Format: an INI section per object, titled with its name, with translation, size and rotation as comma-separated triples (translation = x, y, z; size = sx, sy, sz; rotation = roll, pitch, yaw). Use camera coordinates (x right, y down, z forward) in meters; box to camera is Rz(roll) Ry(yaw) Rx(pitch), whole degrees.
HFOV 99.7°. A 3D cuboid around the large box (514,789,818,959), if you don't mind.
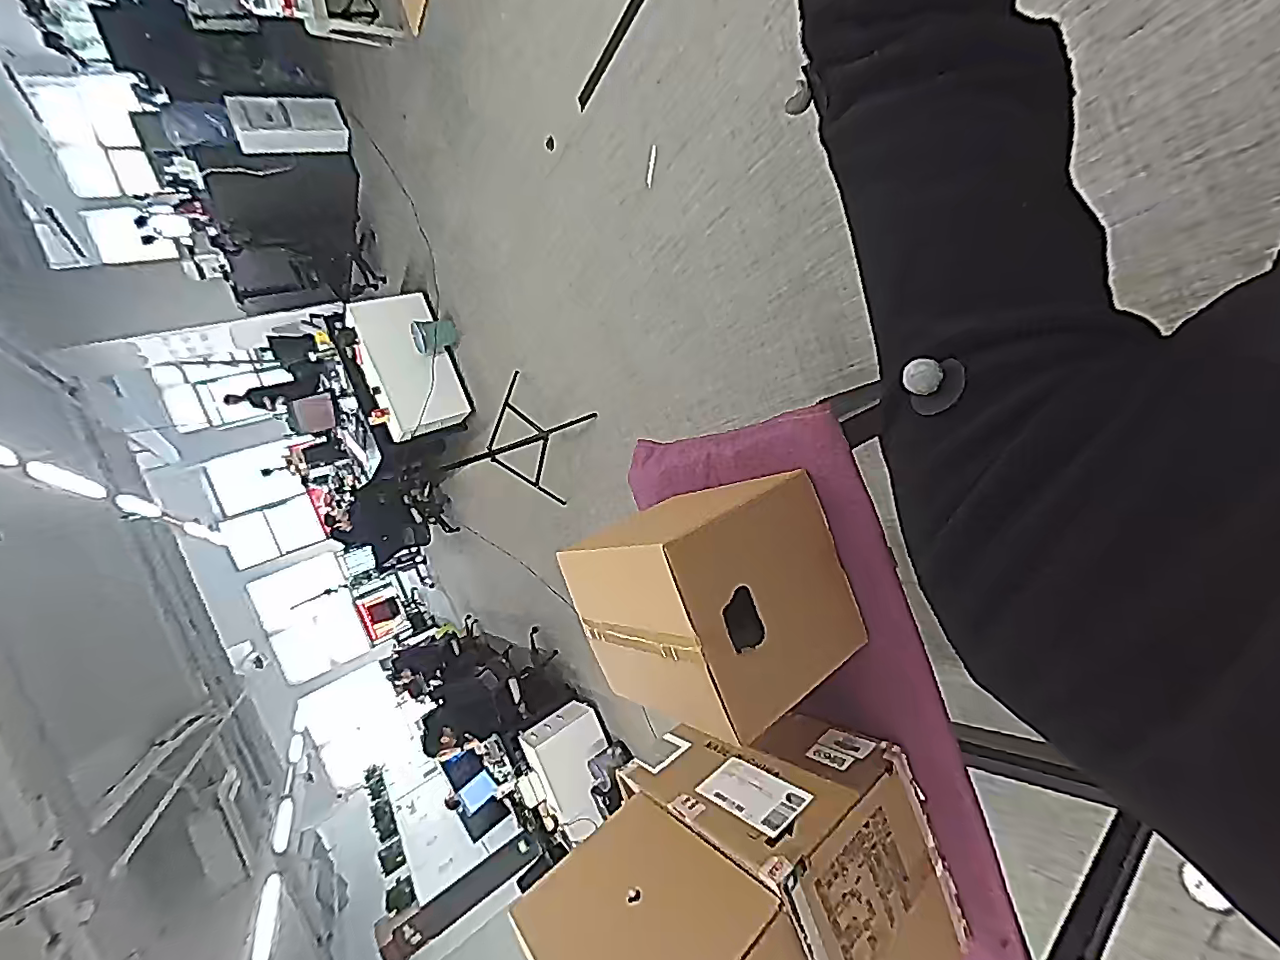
[large box]
translation = 0.049, 0.793, 0.877
size = 0.408, 0.320, 0.320
rotation = -13, 103, 59
